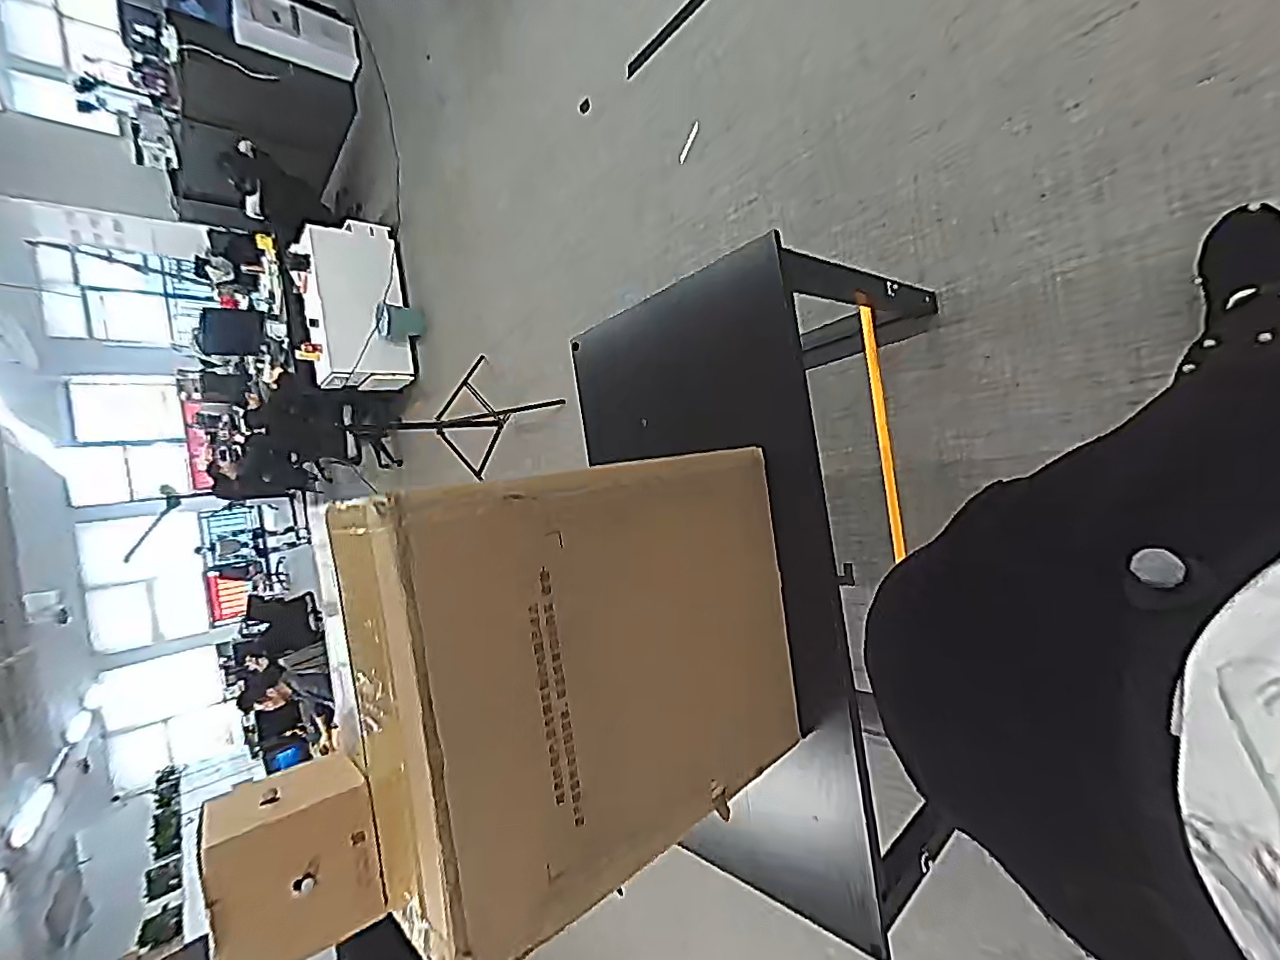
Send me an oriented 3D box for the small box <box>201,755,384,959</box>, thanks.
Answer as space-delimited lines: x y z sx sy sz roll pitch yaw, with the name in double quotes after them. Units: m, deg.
-0.437 0.478 0.686 0.179 0.176 0.168 -14 85 51 "small box"
